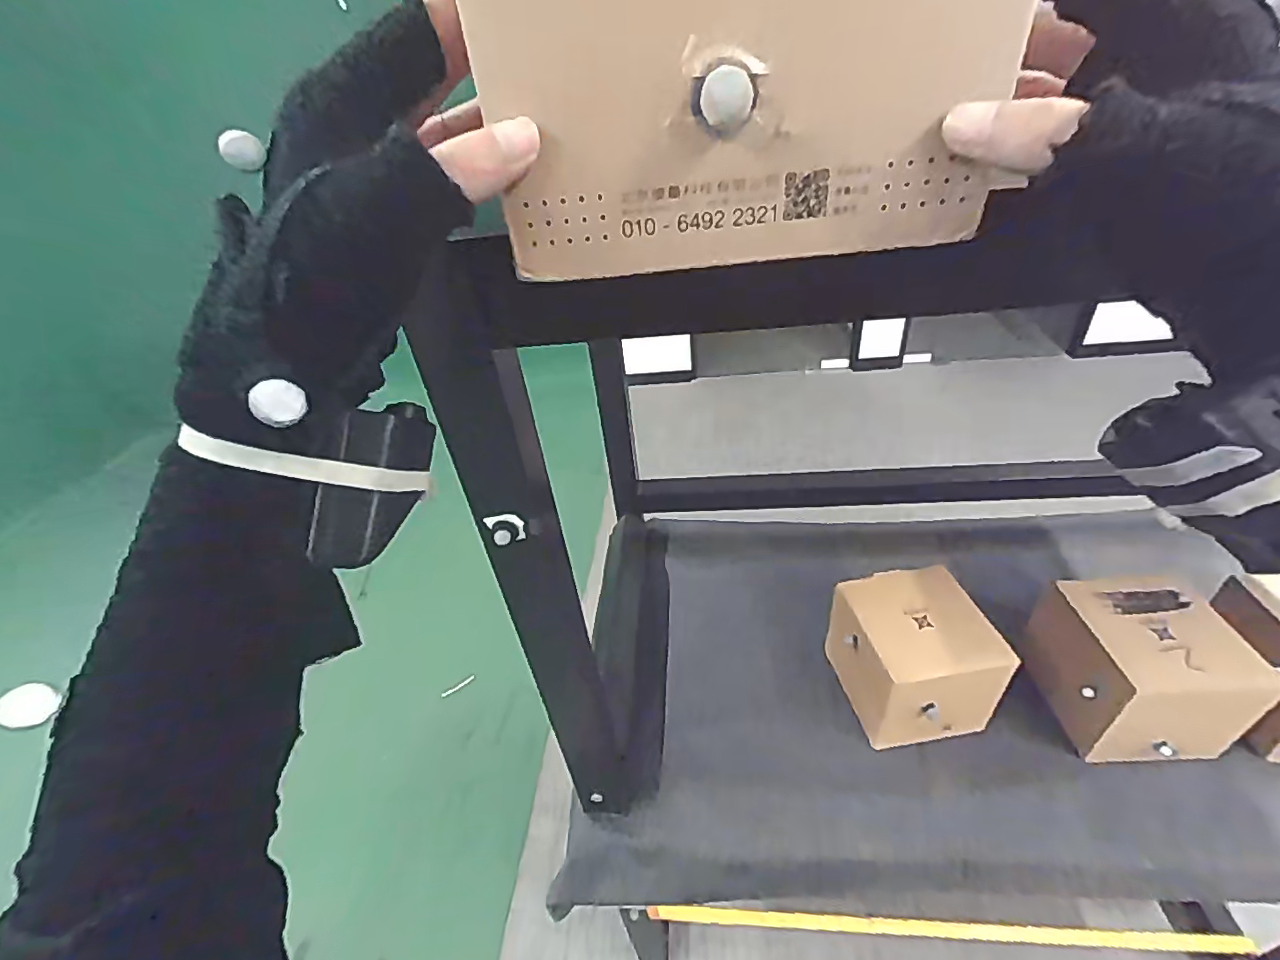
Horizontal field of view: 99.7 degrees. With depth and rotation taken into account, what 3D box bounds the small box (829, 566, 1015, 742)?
[{"bbox_3d":[0.390,0.256,0.785,0.168,0.176,0.179,-9,36,-2],"label":"small box"}]
